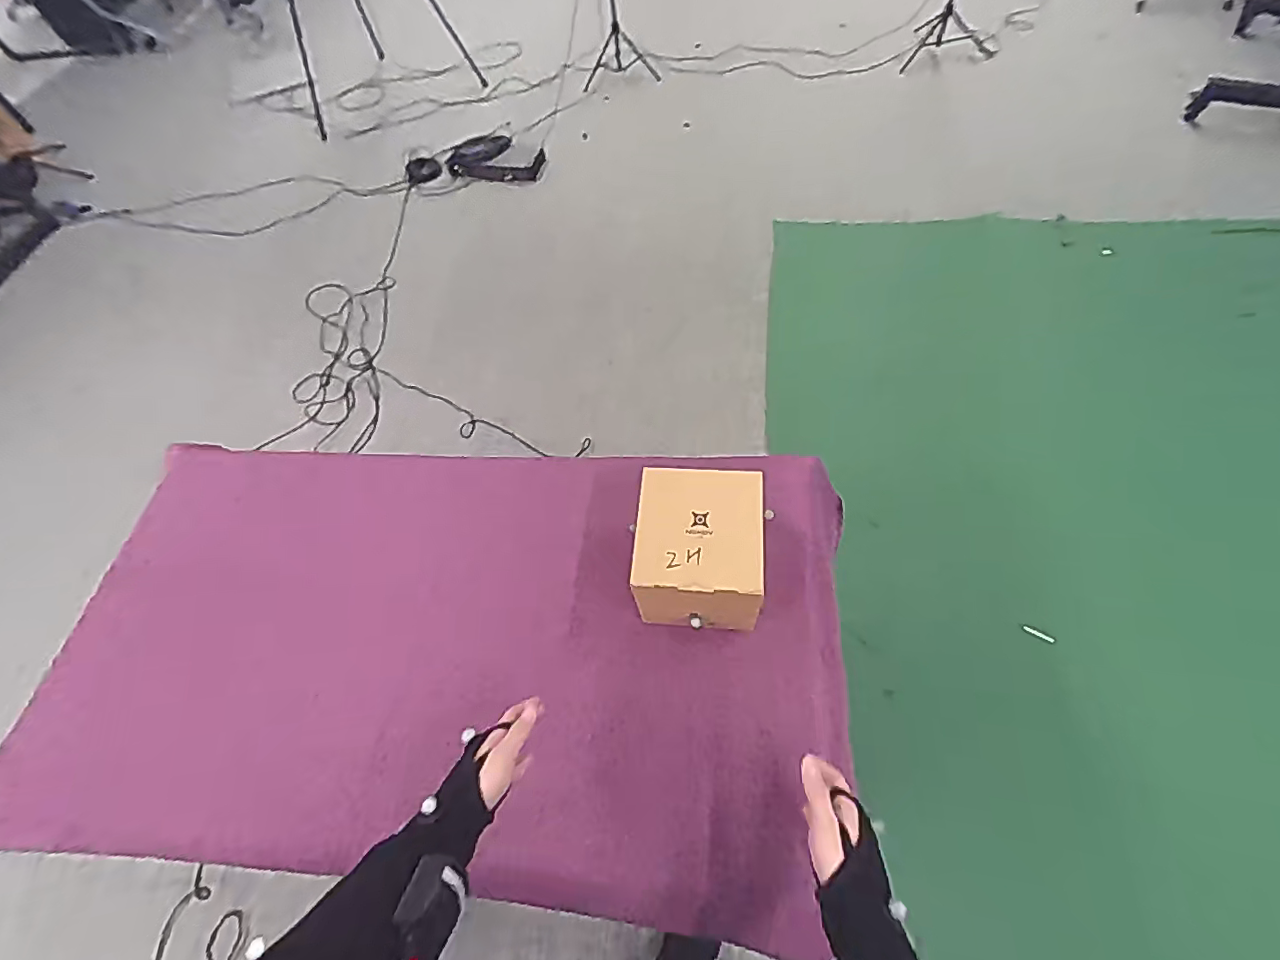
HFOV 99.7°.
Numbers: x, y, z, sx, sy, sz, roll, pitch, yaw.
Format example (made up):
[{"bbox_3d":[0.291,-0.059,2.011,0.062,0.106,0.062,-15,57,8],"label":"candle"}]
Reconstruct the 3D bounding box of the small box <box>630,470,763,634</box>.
[{"bbox_3d":[0.083,0.106,0.771,0.168,0.176,0.179,3,61,8],"label":"small box"}]
